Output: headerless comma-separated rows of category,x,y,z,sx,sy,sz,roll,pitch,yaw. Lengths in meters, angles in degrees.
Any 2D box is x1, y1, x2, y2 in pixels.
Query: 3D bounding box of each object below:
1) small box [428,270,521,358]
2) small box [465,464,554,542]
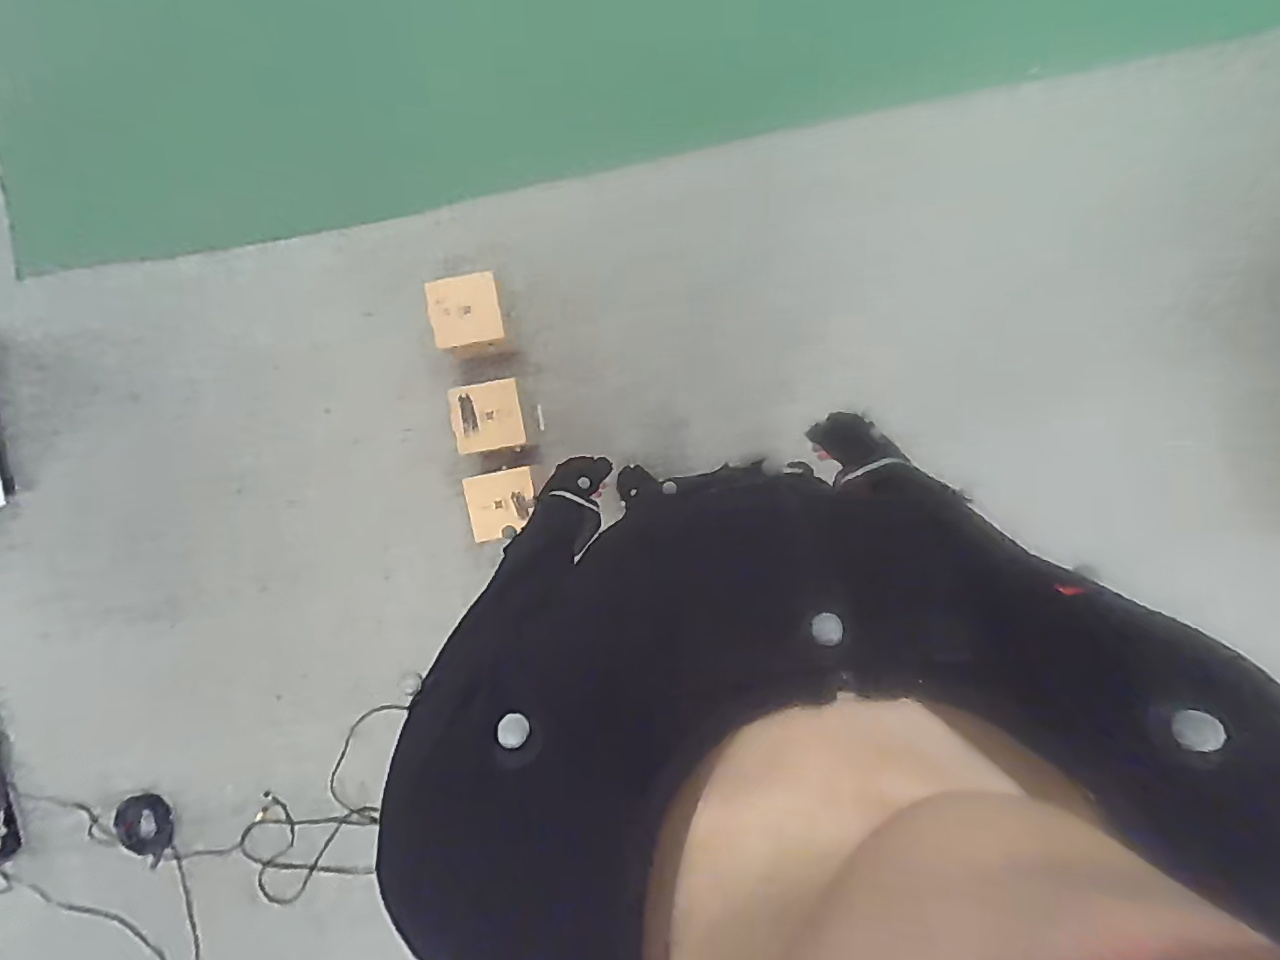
small box,-0.416,-0.419,1.392,0.179,0.176,0.168,-10,92,3
small box,-0.330,0.053,1.413,0.179,0.176,0.168,-11,93,4
